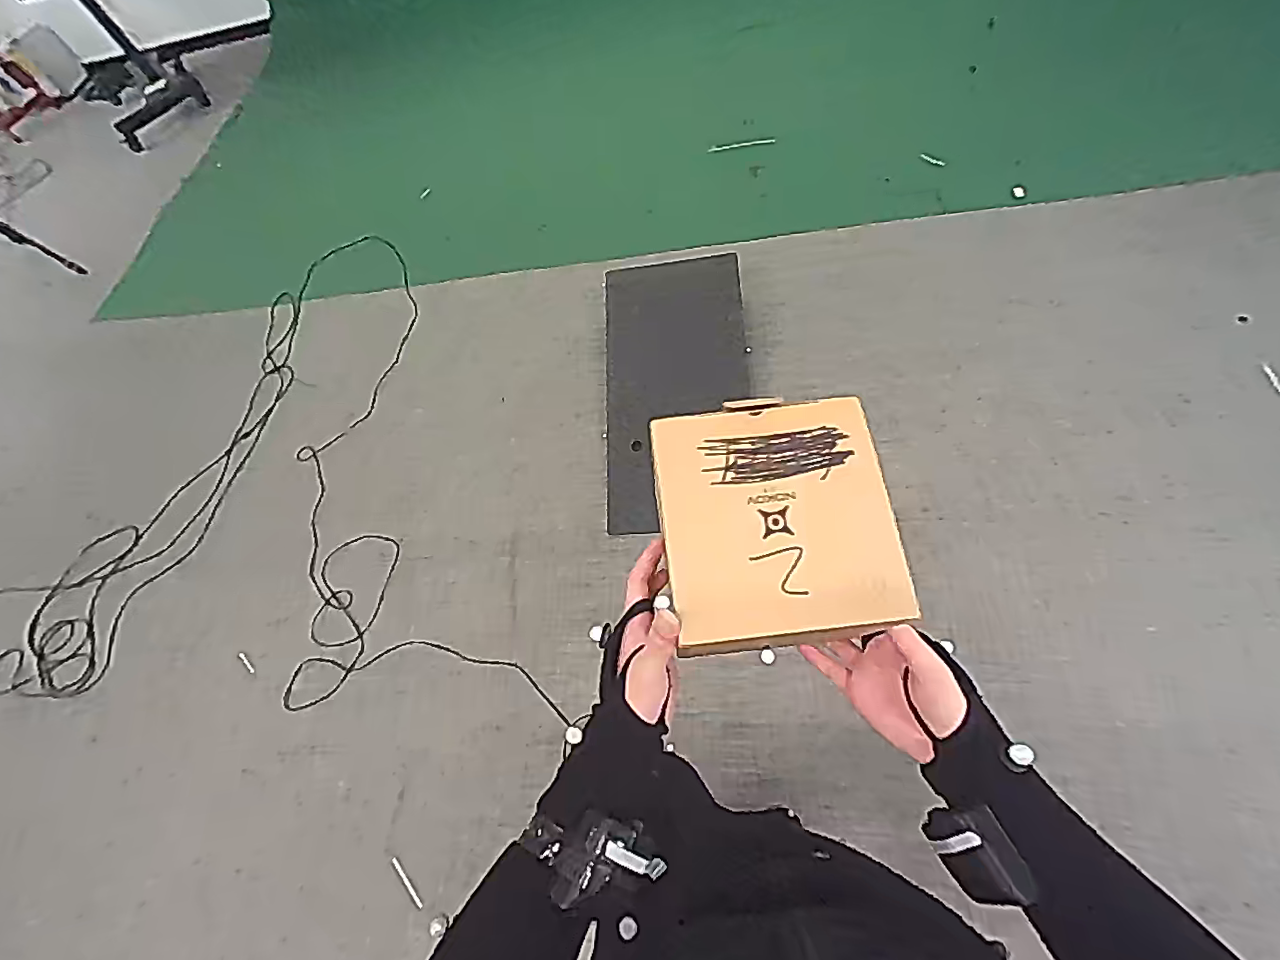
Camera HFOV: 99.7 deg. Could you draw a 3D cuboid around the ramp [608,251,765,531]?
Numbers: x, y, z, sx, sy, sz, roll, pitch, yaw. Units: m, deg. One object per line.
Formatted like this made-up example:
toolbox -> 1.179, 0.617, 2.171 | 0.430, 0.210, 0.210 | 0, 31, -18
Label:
ramp -> 0.135, -0.328, 1.836 | 0.509, 0.206, 0.991 | -5, 62, 8
